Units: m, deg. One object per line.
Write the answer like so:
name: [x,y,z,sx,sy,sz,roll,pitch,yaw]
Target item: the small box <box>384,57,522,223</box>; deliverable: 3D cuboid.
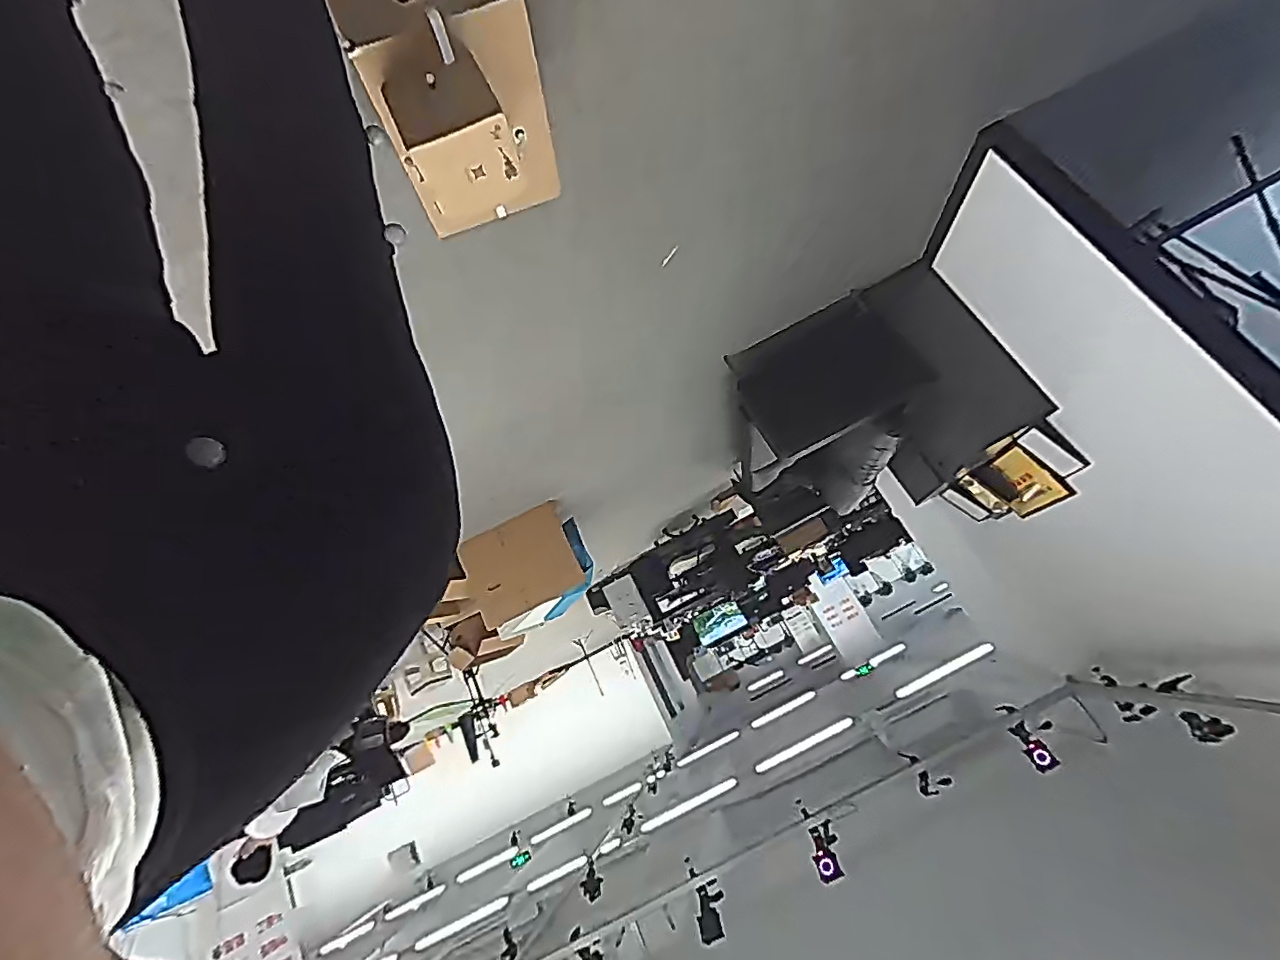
small box: [-0.342,-0.619,0.989,0.179,0.176,0.168,-25,161,-5]
